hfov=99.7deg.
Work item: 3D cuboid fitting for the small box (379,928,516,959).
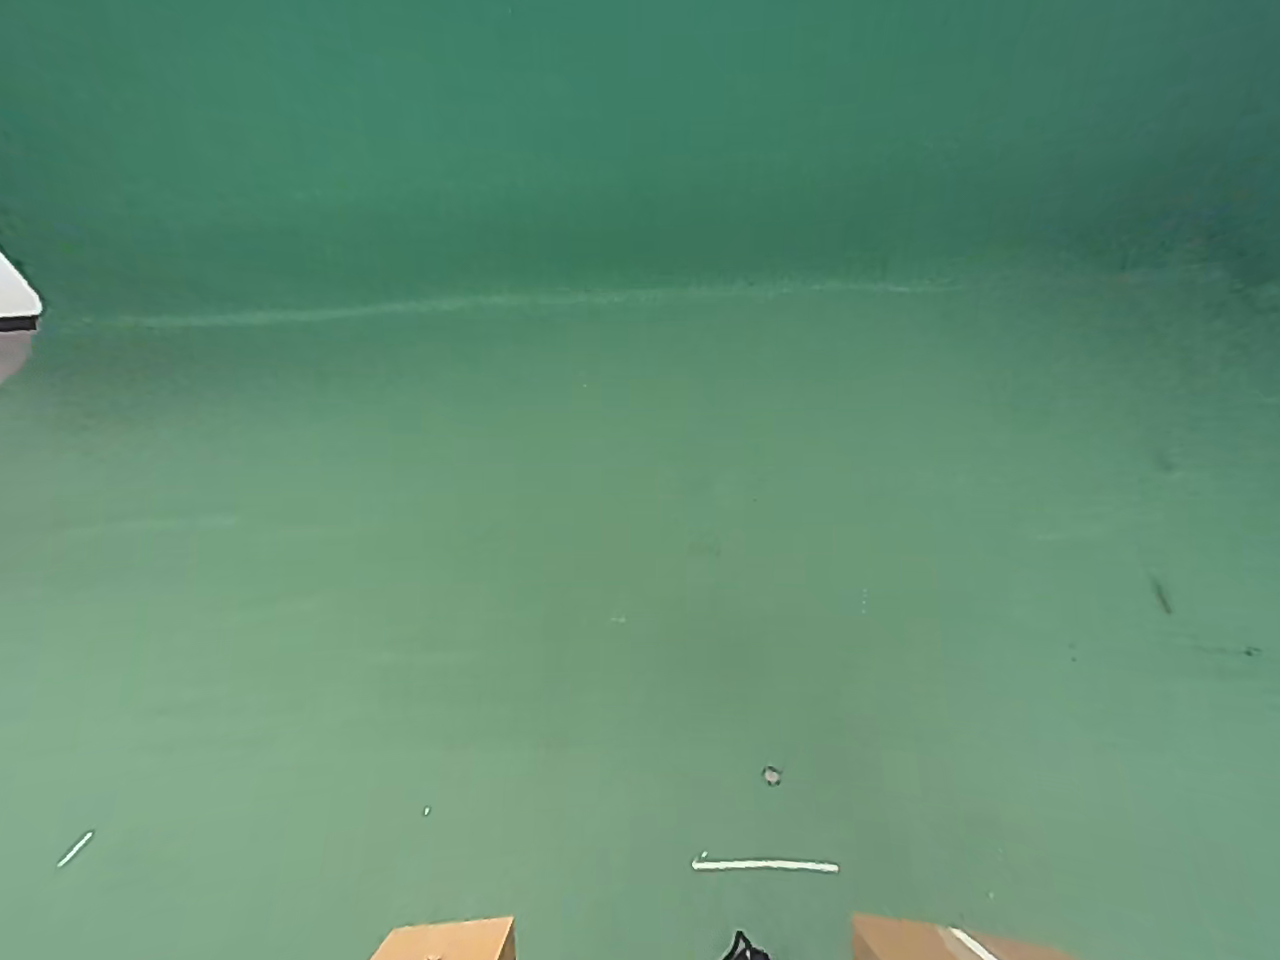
[{"bbox_3d":[-0.243,0.672,0.627,0.168,0.179,0.176,-5,78,-2],"label":"small box"}]
